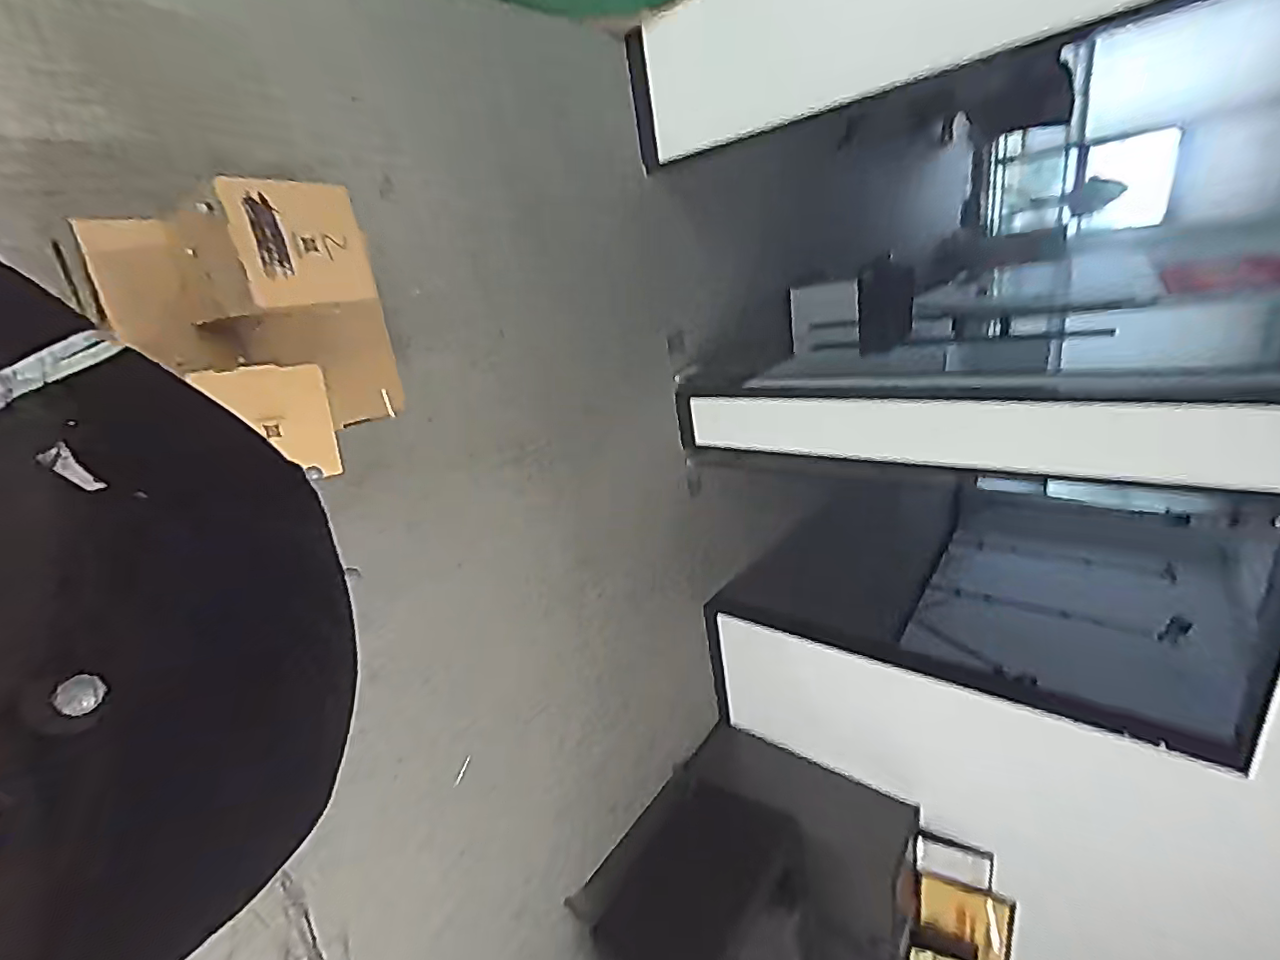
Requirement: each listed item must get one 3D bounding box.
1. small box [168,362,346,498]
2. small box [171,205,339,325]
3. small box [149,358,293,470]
[{"bbox_3d":[-0.586,-0.087,0.831,0.168,0.176,0.179,-21,113,-48],"label":"small box"},{"bbox_3d":[-0.667,-0.364,0.942,0.179,0.176,0.168,-23,113,-49],"label":"small box"},{"bbox_3d":[-0.708,-0.119,0.934,0.179,0.176,0.168,-22,115,-48],"label":"small box"}]
